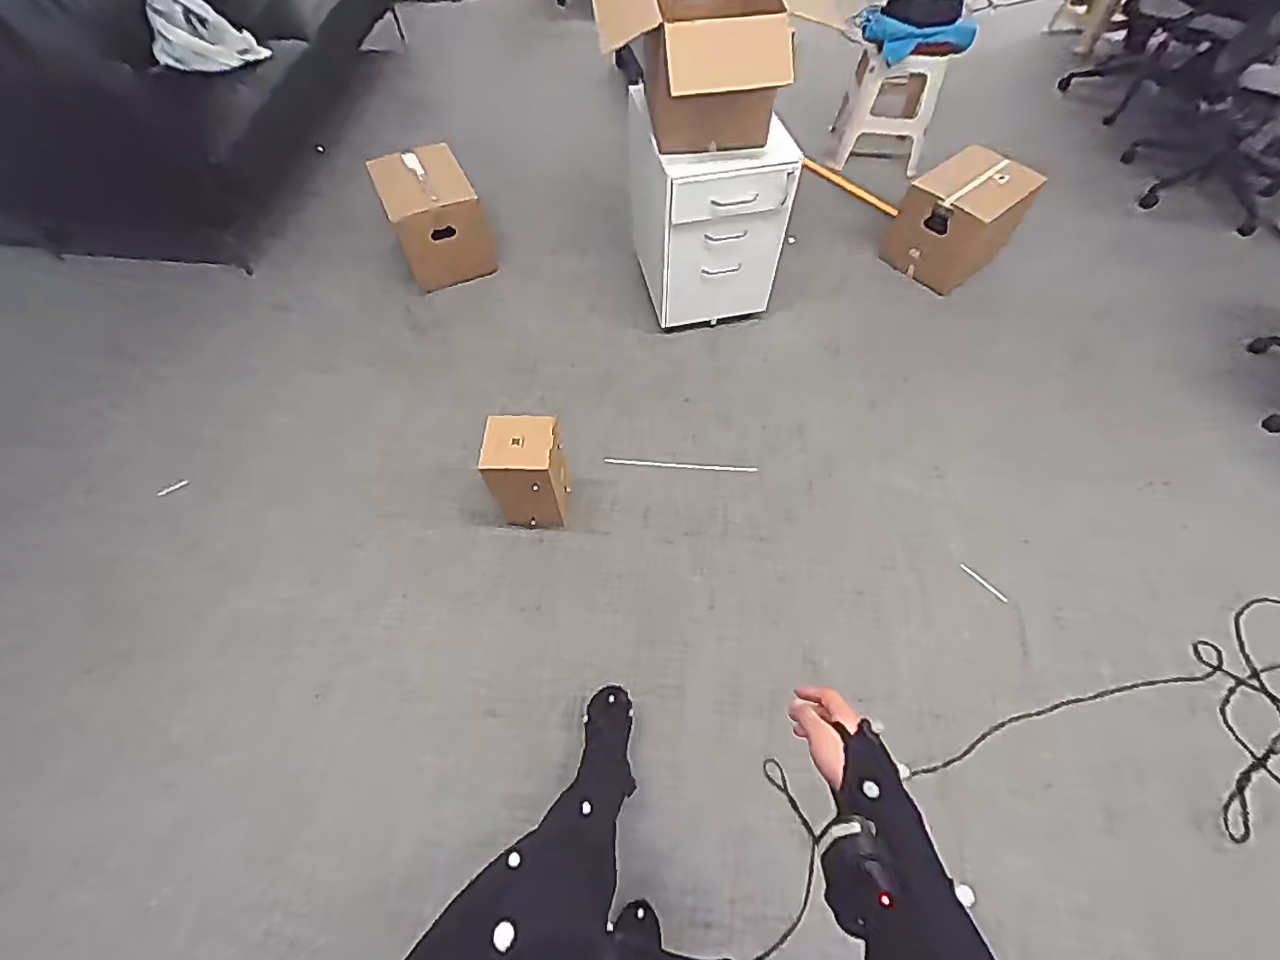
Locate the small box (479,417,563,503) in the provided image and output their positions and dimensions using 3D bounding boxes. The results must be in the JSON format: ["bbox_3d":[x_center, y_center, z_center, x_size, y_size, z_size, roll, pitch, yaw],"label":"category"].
[{"bbox_3d":[-0.305,-0.049,1.428,0.179,0.176,0.168,-1,58,2],"label":"small box"}]

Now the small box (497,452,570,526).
[{"bbox_3d":[-0.303,0.025,1.574,0.179,0.176,0.168,3,59,2],"label":"small box"}]
